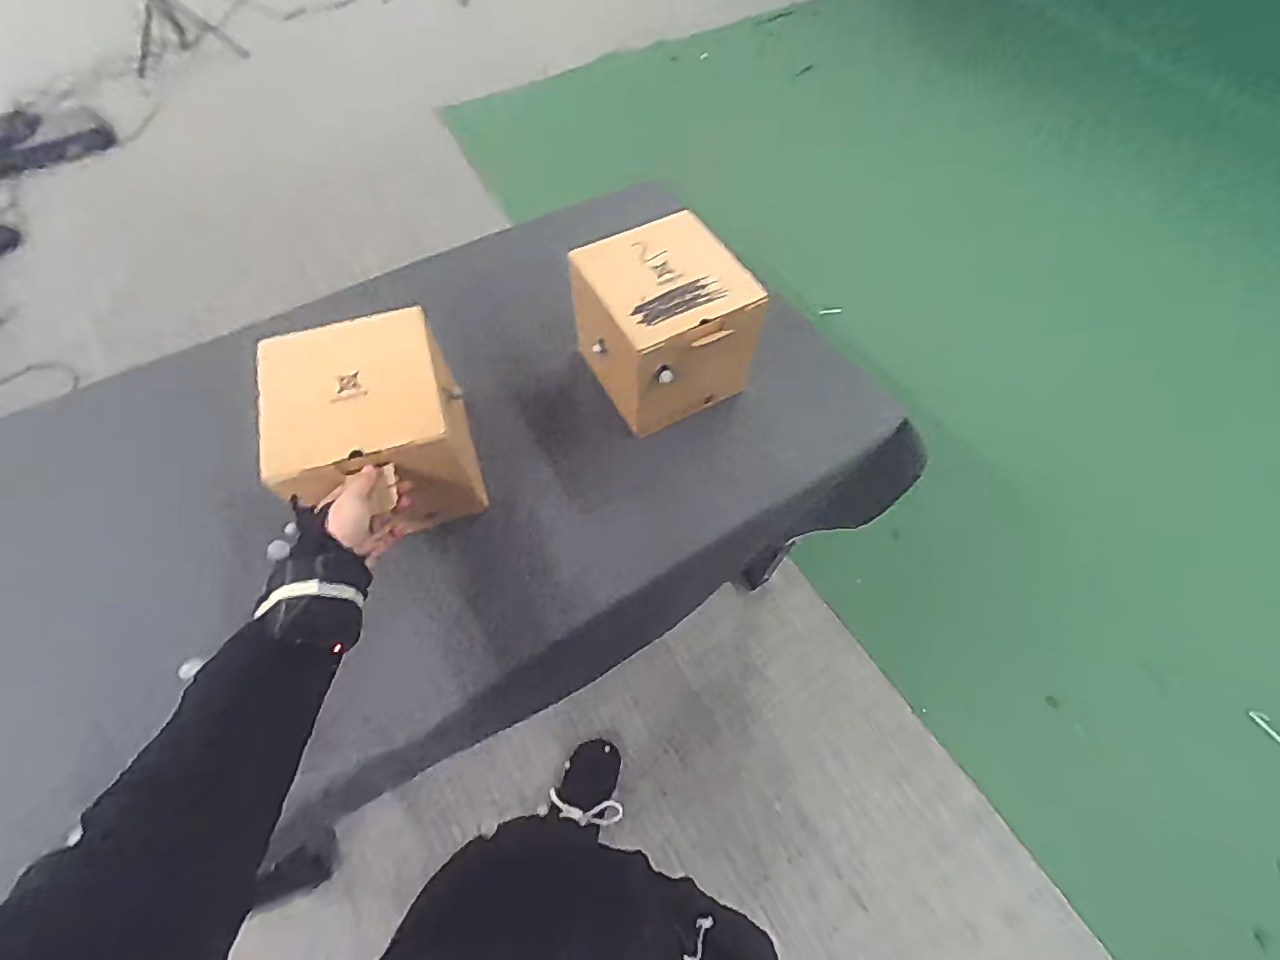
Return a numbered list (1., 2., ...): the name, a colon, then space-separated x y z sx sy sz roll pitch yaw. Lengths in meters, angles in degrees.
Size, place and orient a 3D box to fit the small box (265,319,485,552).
1. small box: -0.285 -0.045 0.605 0.168 0.176 0.179 -17 63 -11
